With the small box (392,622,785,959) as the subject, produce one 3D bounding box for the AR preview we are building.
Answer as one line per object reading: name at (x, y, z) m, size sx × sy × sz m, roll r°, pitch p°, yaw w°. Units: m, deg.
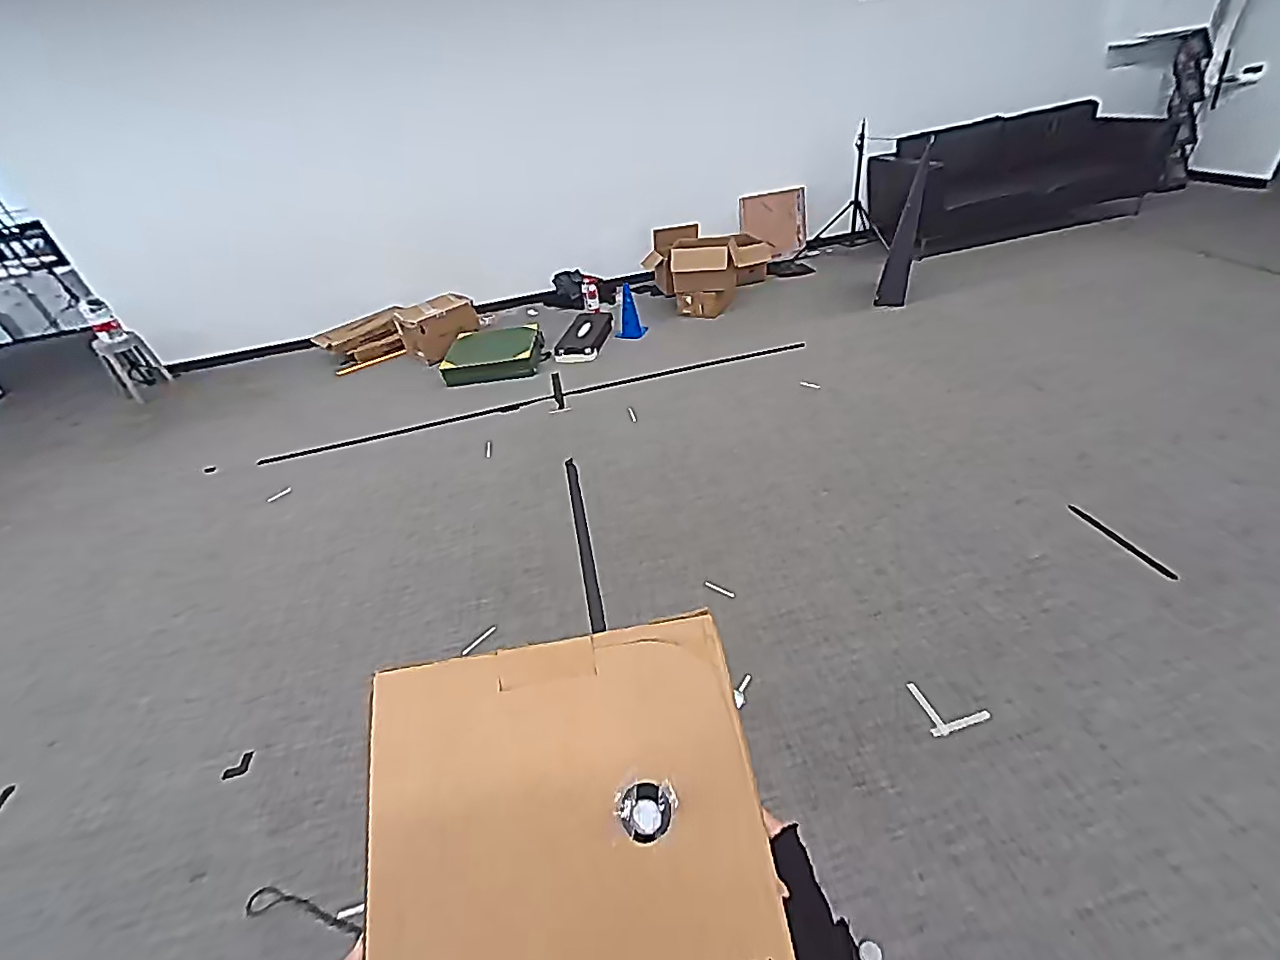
small box at (-0.024, 0.194, 0.317) m, size 0.168 × 0.179 × 0.176 m, roll -10°, pitch 66°, yaw -1°
